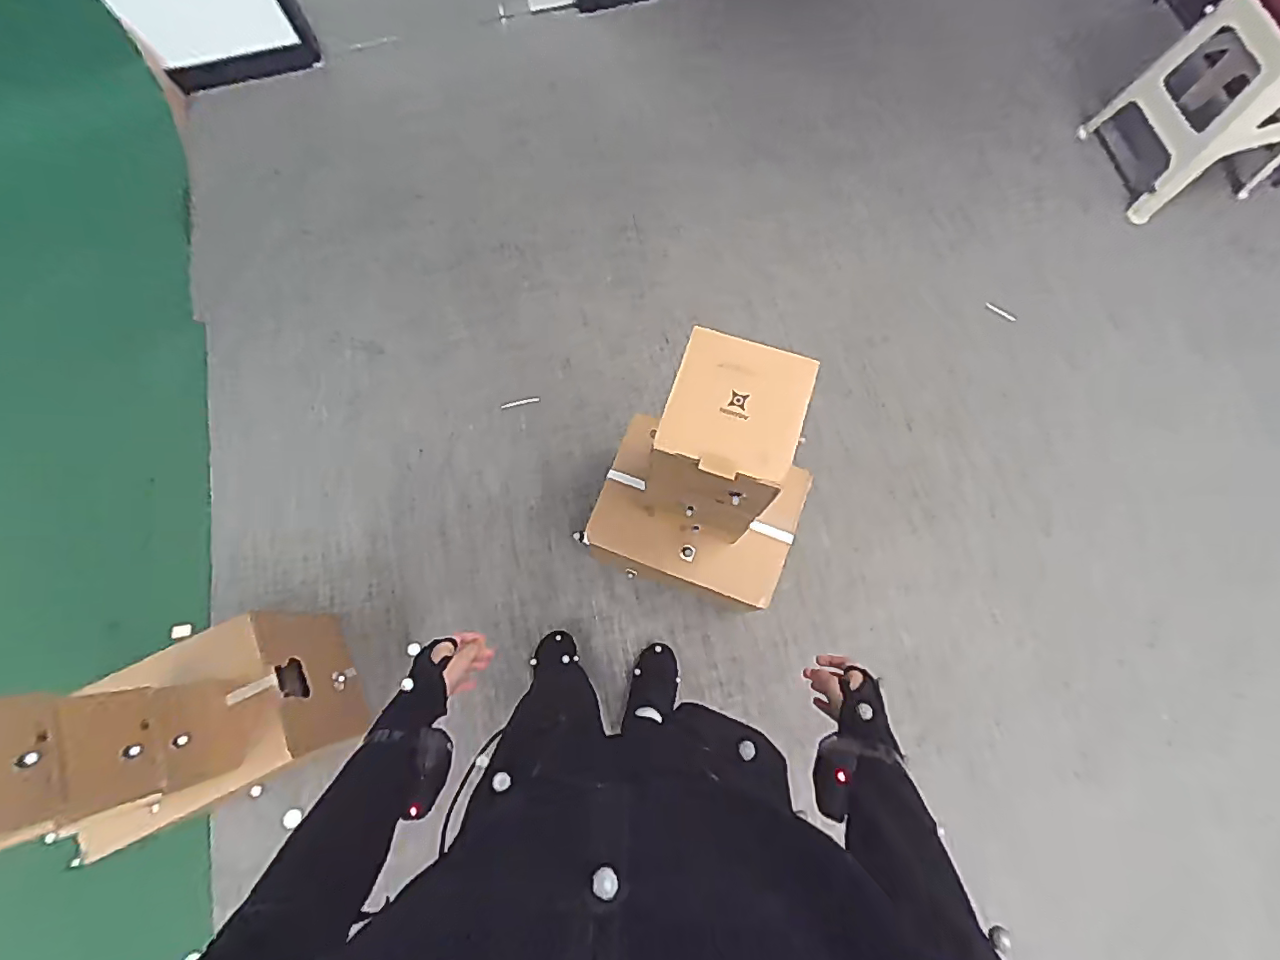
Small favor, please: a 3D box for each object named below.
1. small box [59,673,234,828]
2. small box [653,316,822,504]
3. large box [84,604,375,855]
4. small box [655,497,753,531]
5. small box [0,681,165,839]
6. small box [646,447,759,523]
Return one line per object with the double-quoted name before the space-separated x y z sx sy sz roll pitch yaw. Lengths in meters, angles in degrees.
"small box" -0.852 0.455 0.940 0.168 0.176 0.179 -21 76 -5
"small box" 0.122 -0.082 0.729 0.168 0.176 0.179 18 75 5
"large box" -0.885 0.503 1.182 0.408 0.320 0.320 -27 75 -5
"small box" 0.135 -0.007 1.047 0.179 0.176 0.168 17 75 4
"small box" -0.853 0.406 0.785 0.179 0.176 0.168 -19 76 -5
"small box" 0.119 -0.038 0.886 0.179 0.176 0.168 20 76 7
